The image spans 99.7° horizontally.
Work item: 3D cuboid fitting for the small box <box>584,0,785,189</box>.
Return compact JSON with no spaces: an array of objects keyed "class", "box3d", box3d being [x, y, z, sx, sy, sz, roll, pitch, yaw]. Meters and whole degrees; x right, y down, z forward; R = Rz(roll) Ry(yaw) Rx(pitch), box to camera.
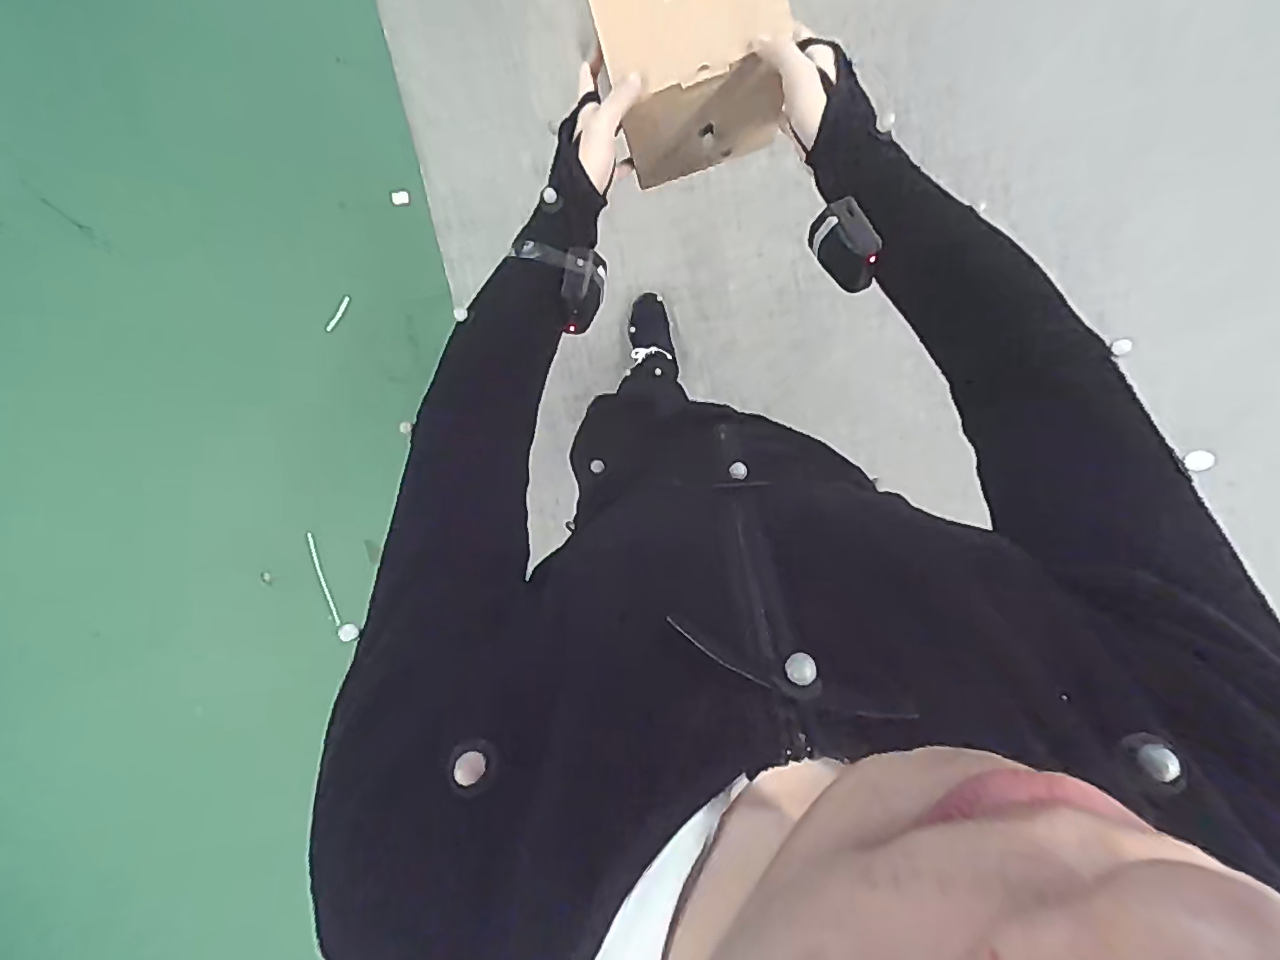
[{"class":"small box","box3d":[0.046,-0.440,0.572,0.168,0.176,0.179,-15,91,9]}]
